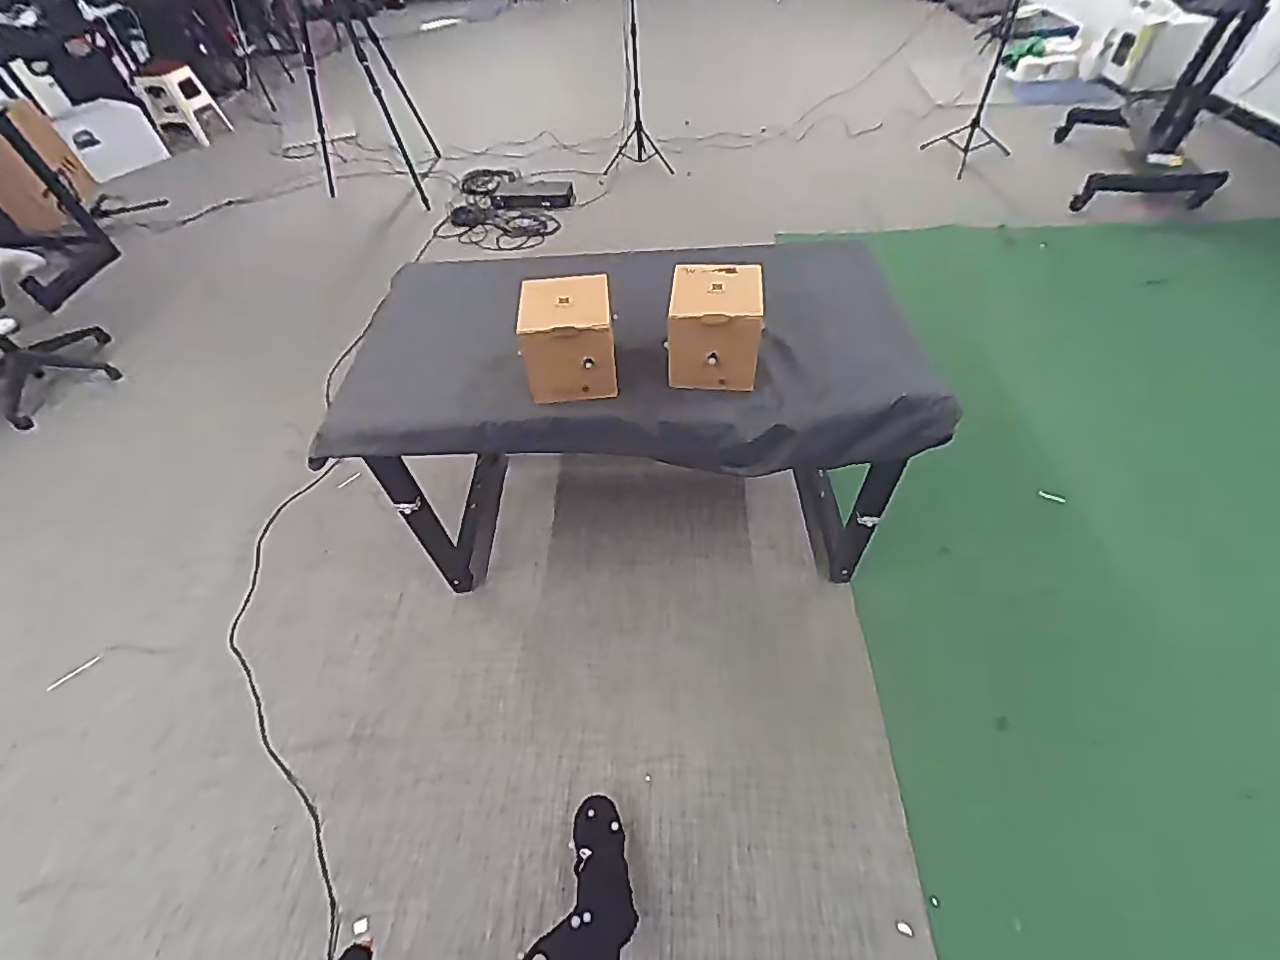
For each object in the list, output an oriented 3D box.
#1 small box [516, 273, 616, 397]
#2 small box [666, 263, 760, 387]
[{"bbox_3d":[-0.137,-0.274,1.046,0.168,0.176,0.179,-5,49,-2],"label":"small box"},{"bbox_3d":[0.142,-0.297,1.045,0.168,0.176,0.179,3,52,7],"label":"small box"}]
